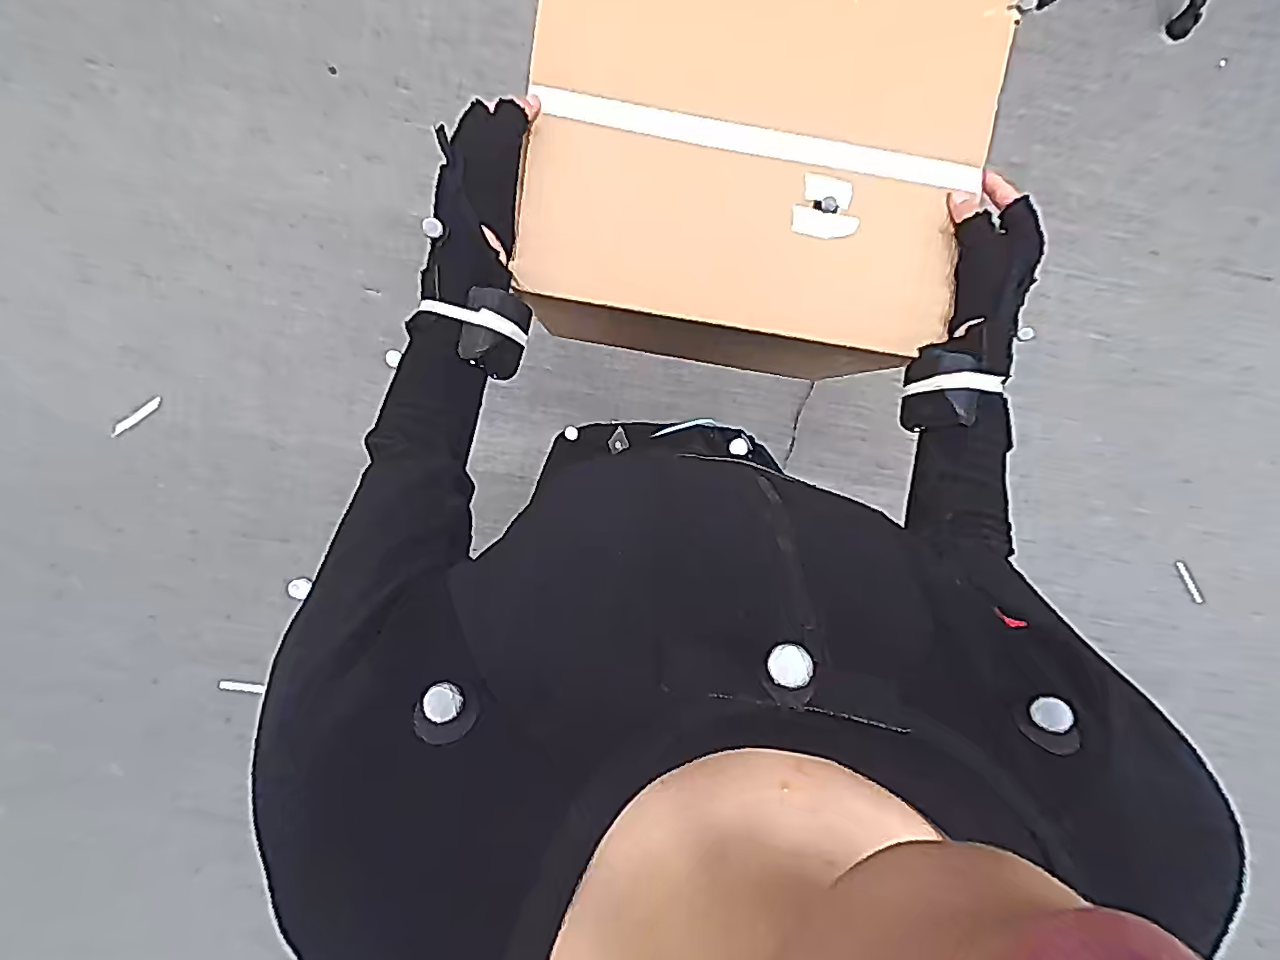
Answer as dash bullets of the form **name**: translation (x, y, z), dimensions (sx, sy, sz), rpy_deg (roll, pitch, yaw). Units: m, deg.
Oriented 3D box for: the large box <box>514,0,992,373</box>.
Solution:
- **large box**: translation (0.091, -0.318, 0.635), dimensions (0.408, 0.320, 0.320), rpy_deg (9, 98, -4)
